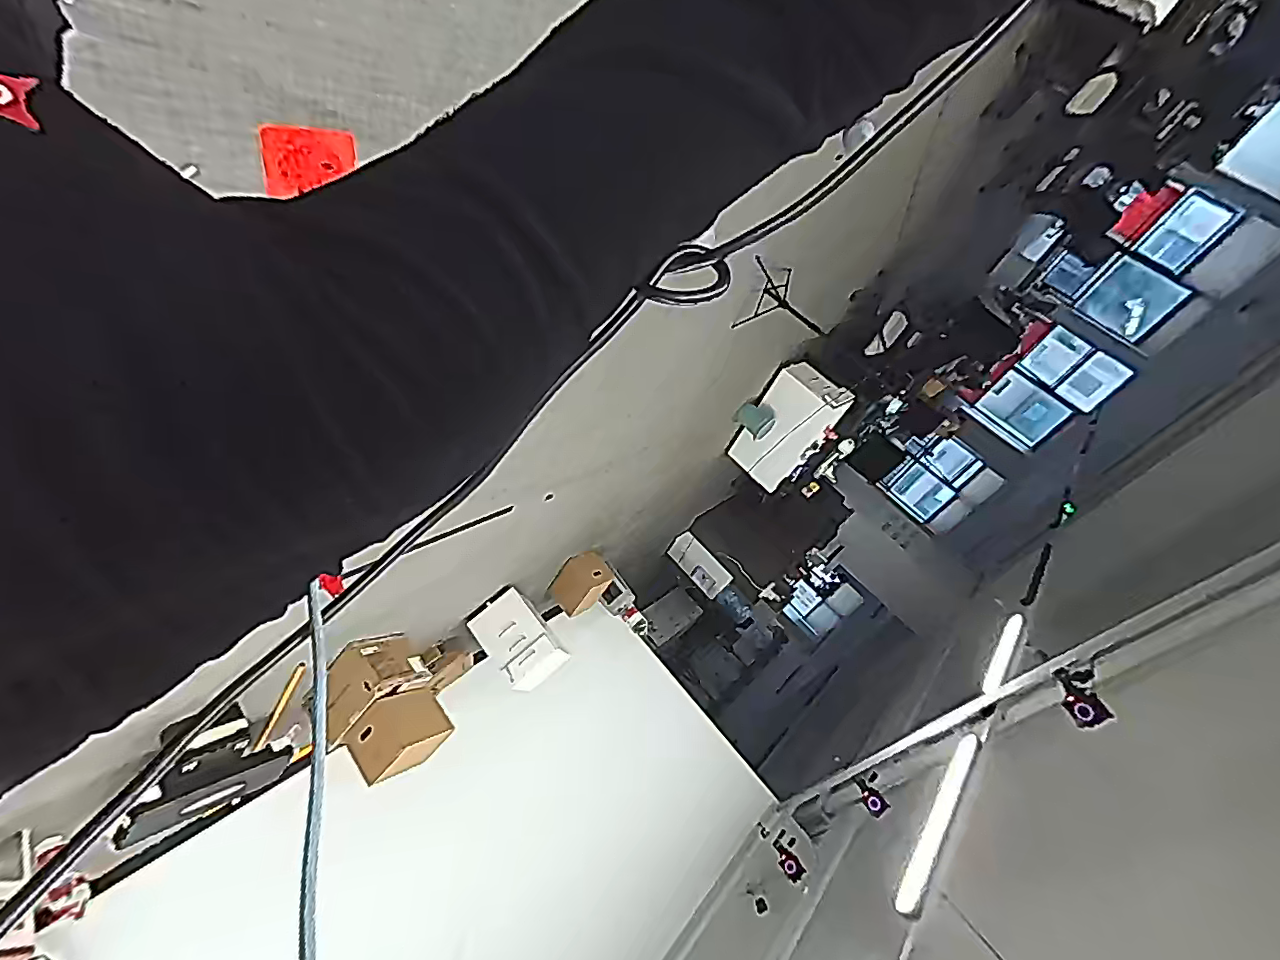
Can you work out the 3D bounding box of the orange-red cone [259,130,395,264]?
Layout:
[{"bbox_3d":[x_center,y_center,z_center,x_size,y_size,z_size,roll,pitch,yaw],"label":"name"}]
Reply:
[{"bbox_3d":[-0.658,-0.593,1.206,0.198,0.360,0.199,-27,153,-42],"label":"orange-red cone"}]
